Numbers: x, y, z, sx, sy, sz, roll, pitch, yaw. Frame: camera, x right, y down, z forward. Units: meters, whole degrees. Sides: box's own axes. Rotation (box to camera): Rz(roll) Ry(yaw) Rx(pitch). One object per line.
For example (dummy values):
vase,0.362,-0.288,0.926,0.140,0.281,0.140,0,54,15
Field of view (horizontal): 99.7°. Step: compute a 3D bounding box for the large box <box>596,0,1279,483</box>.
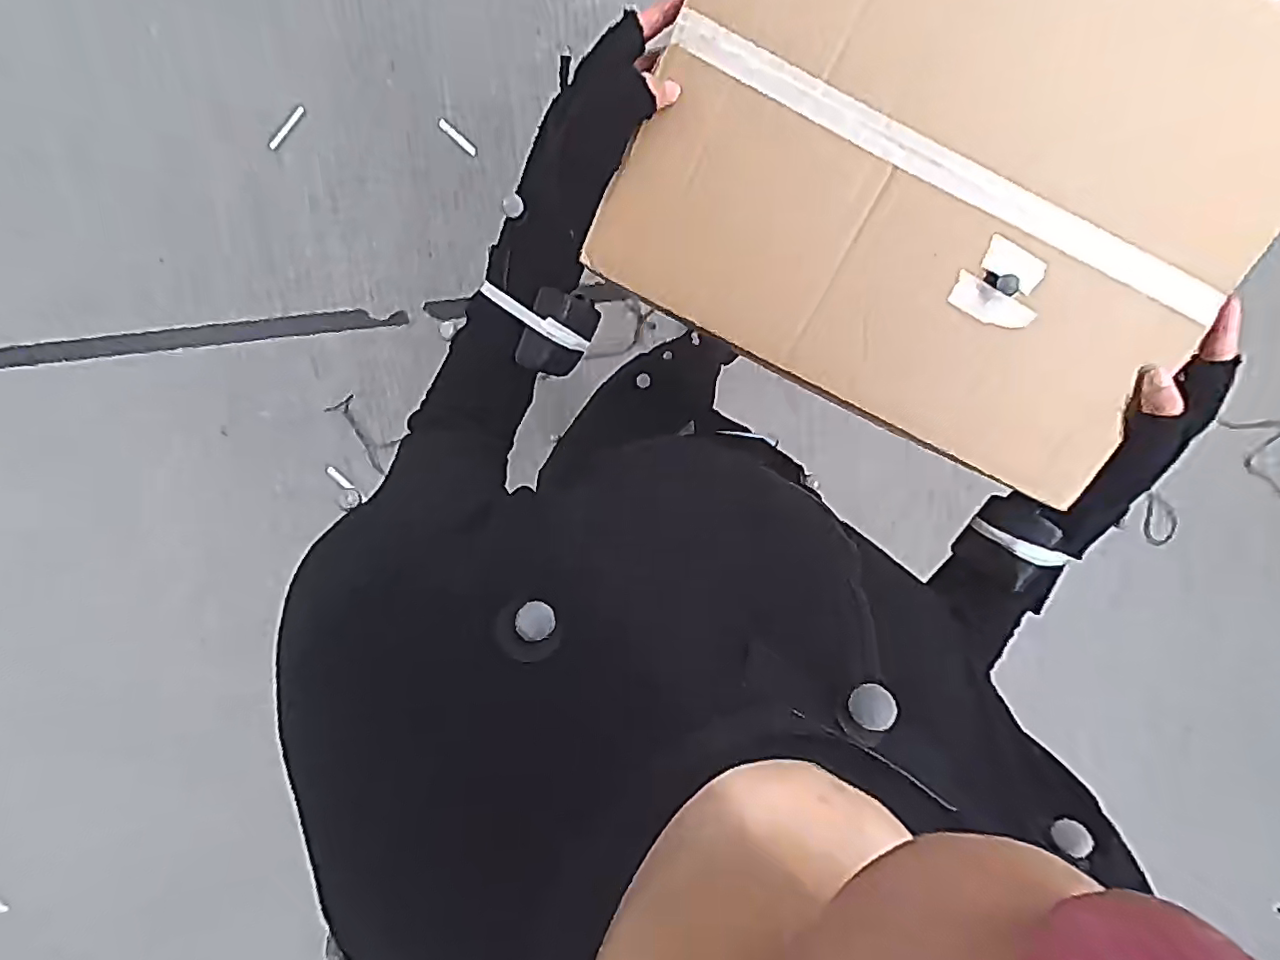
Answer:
large box,0.216,-0.250,0.513,0.408,0.320,0.320,27,106,-3
